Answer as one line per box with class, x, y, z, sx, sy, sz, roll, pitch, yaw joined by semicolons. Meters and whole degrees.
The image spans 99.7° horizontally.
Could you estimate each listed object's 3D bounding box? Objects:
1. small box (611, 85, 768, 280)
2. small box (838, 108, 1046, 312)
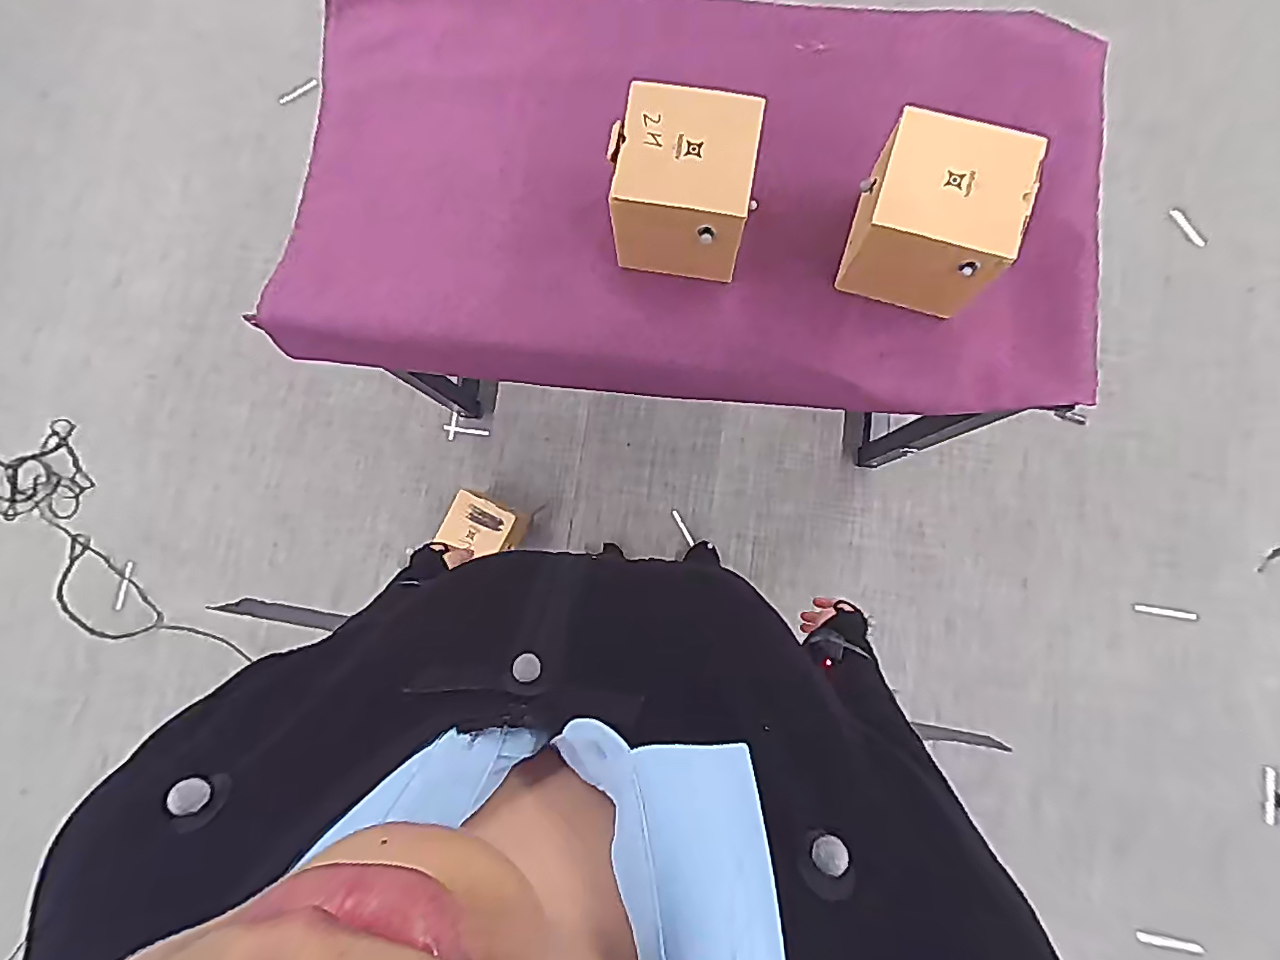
small box;0.066;-0.402;0.757;0.179;0.176;0.168;10;83;4
small box;0.391;-0.351;0.733;0.179;0.176;0.168;17;84;5
